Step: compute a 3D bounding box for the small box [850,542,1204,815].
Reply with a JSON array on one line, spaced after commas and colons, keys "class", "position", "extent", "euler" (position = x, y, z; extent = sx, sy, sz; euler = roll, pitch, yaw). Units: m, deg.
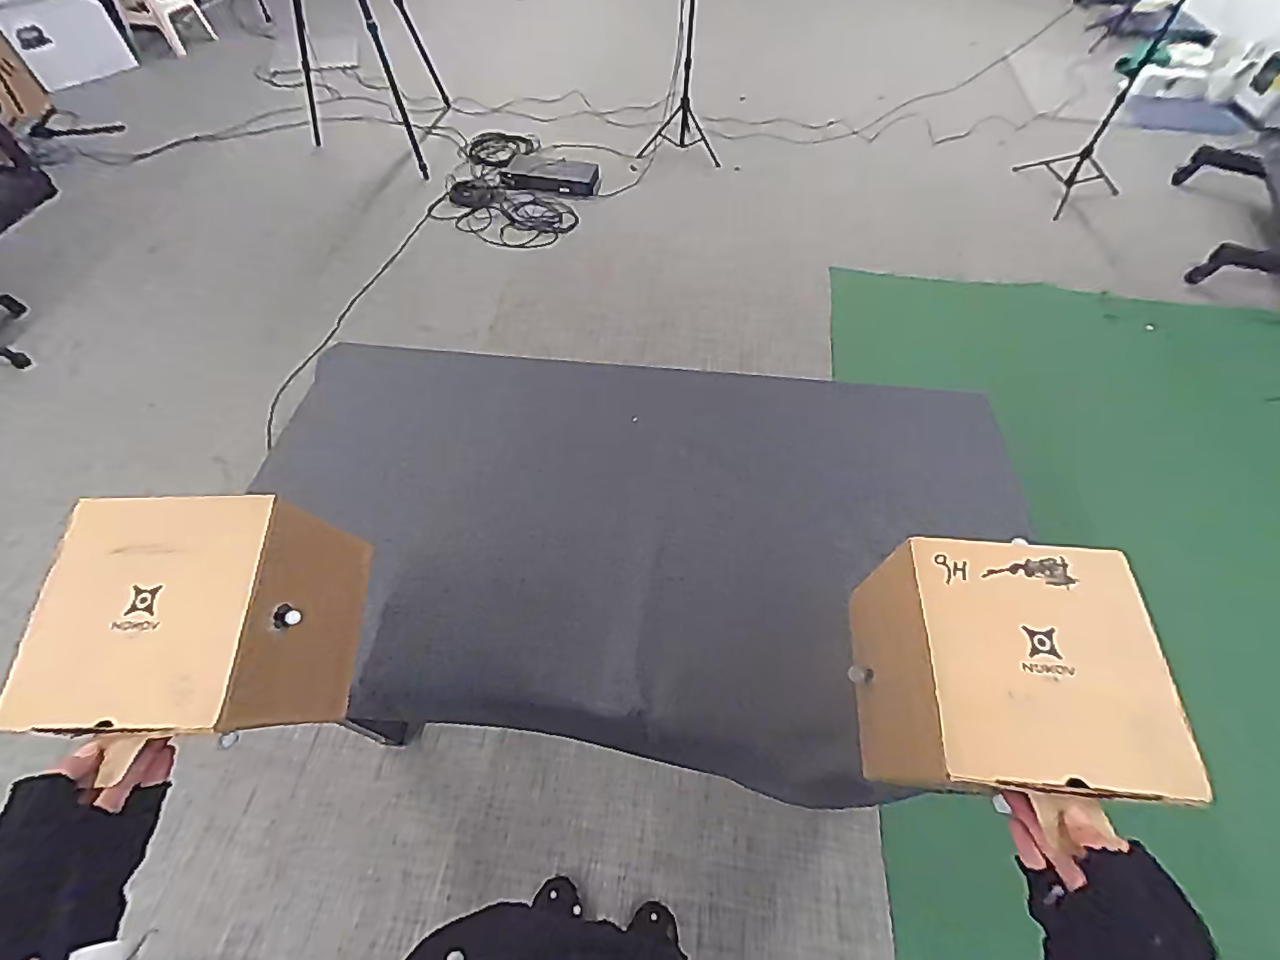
[{"class": "small box", "position": [0.292, 0.168, 0.460], "extent": [0.168, 0.176, 0.179], "euler": [4, 62, 4]}]

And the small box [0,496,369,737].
[{"class": "small box", "position": [-0.366, 0.124, 0.476], "extent": [0.168, 0.176, 0.179], "euler": [-1, 68, 1]}]
